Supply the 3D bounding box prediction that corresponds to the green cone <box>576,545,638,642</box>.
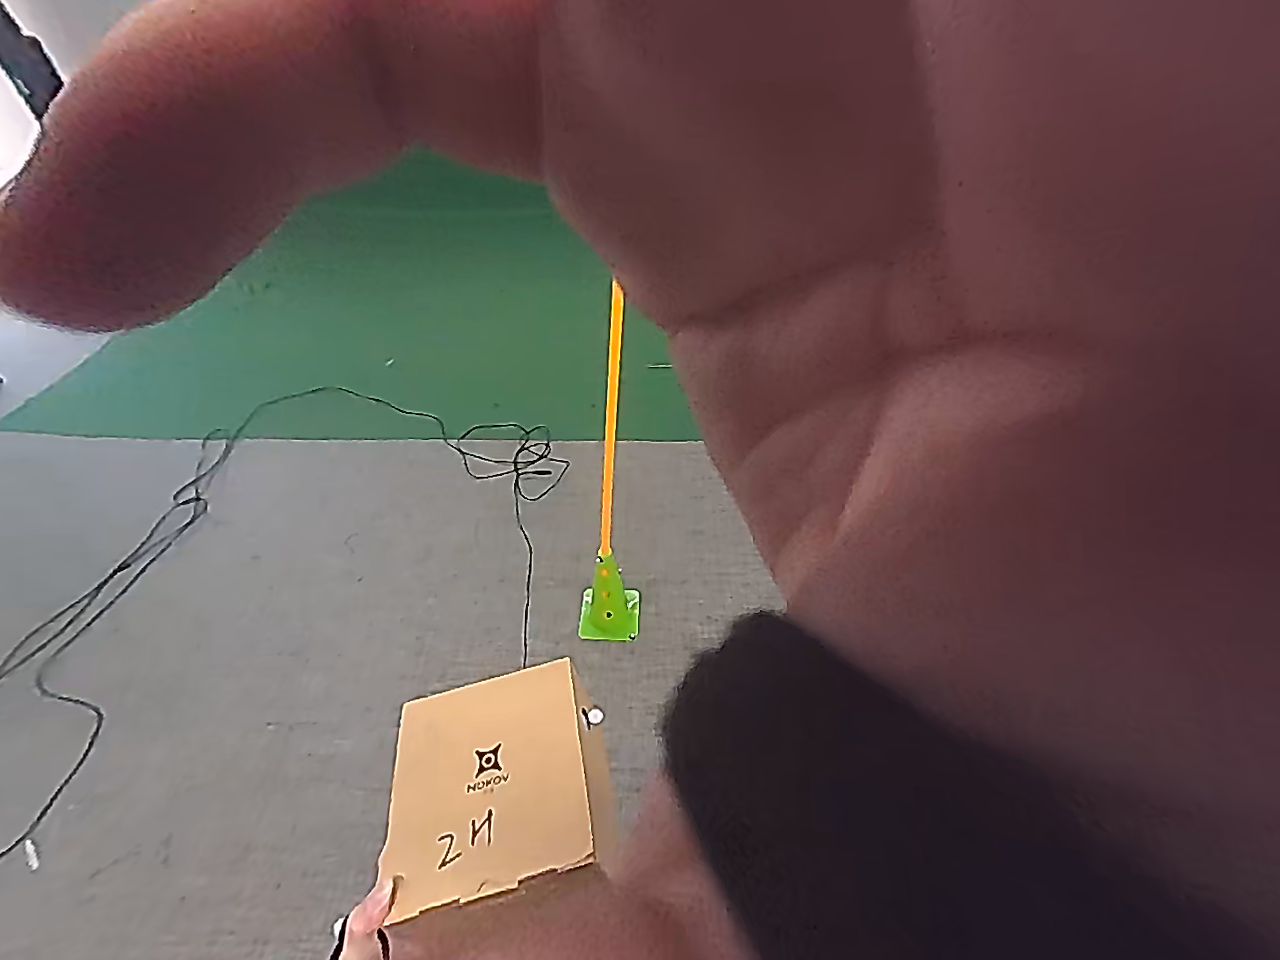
[{"bbox_3d":[-0.114,0.337,1.737,0.202,0.368,0.200,1,43,2],"label":"green cone"}]
